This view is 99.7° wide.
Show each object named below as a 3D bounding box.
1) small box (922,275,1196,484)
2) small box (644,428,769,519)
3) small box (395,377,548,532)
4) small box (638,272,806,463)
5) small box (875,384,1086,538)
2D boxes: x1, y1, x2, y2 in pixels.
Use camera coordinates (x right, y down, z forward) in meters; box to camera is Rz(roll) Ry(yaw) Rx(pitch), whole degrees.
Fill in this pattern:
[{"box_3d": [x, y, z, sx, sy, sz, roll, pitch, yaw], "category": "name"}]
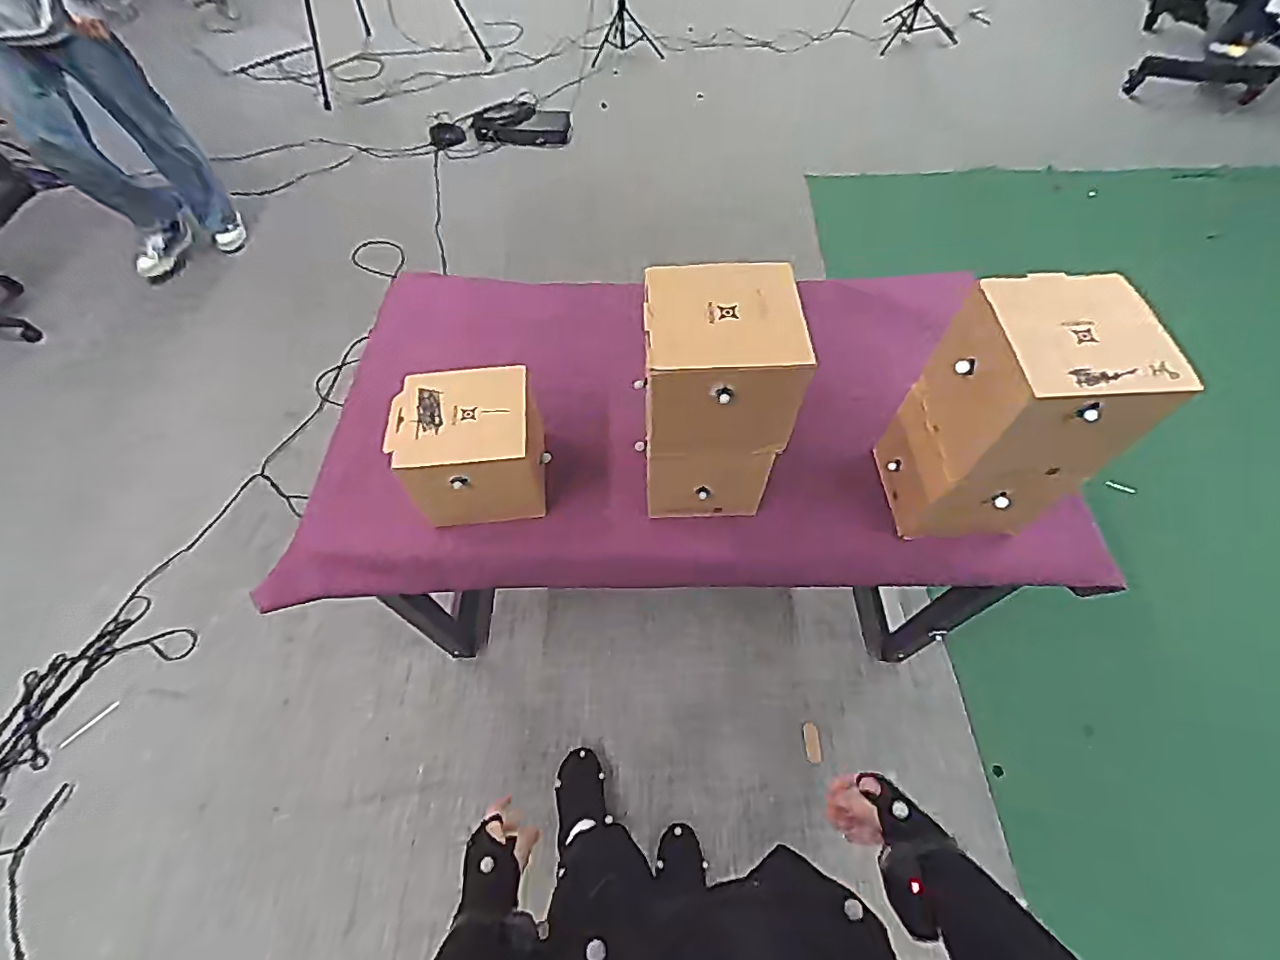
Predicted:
[{"box_3d": [0.464, -0.114, 0.641, 0.168, 0.176, 0.179, -4, 58, 3], "category": "small box"}, {"box_3d": [0.092, -0.050, 0.813, 0.168, 0.176, 0.179, -2, 57, 1], "category": "small box"}, {"box_3d": [-0.242, -0.032, 0.819, 0.179, 0.176, 0.168, -6, 58, -2], "category": "small box"}, {"box_3d": [0.090, -0.133, 0.672, 0.179, 0.176, 0.168, -2, 58, 1], "category": "small box"}, {"box_3d": [0.470, -0.026, 0.780, 0.179, 0.176, 0.168, -4, 59, 2], "category": "small box"}]
